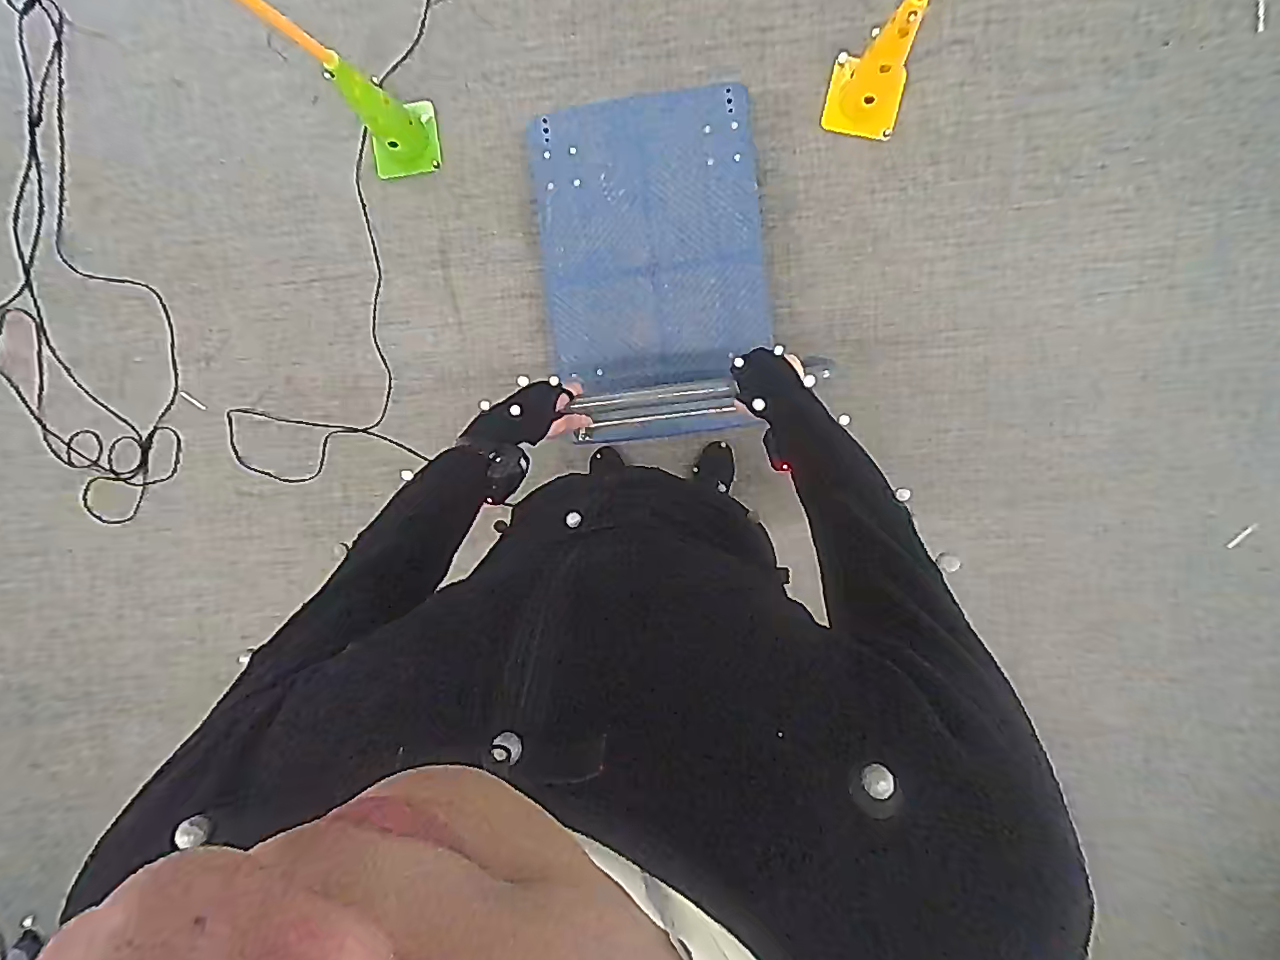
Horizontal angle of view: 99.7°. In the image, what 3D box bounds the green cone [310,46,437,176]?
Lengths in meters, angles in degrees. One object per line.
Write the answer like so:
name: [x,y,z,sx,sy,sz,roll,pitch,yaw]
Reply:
green cone: [-0.722,-1.002,1.424,0.202,0.368,0.200,-7,94,6]
